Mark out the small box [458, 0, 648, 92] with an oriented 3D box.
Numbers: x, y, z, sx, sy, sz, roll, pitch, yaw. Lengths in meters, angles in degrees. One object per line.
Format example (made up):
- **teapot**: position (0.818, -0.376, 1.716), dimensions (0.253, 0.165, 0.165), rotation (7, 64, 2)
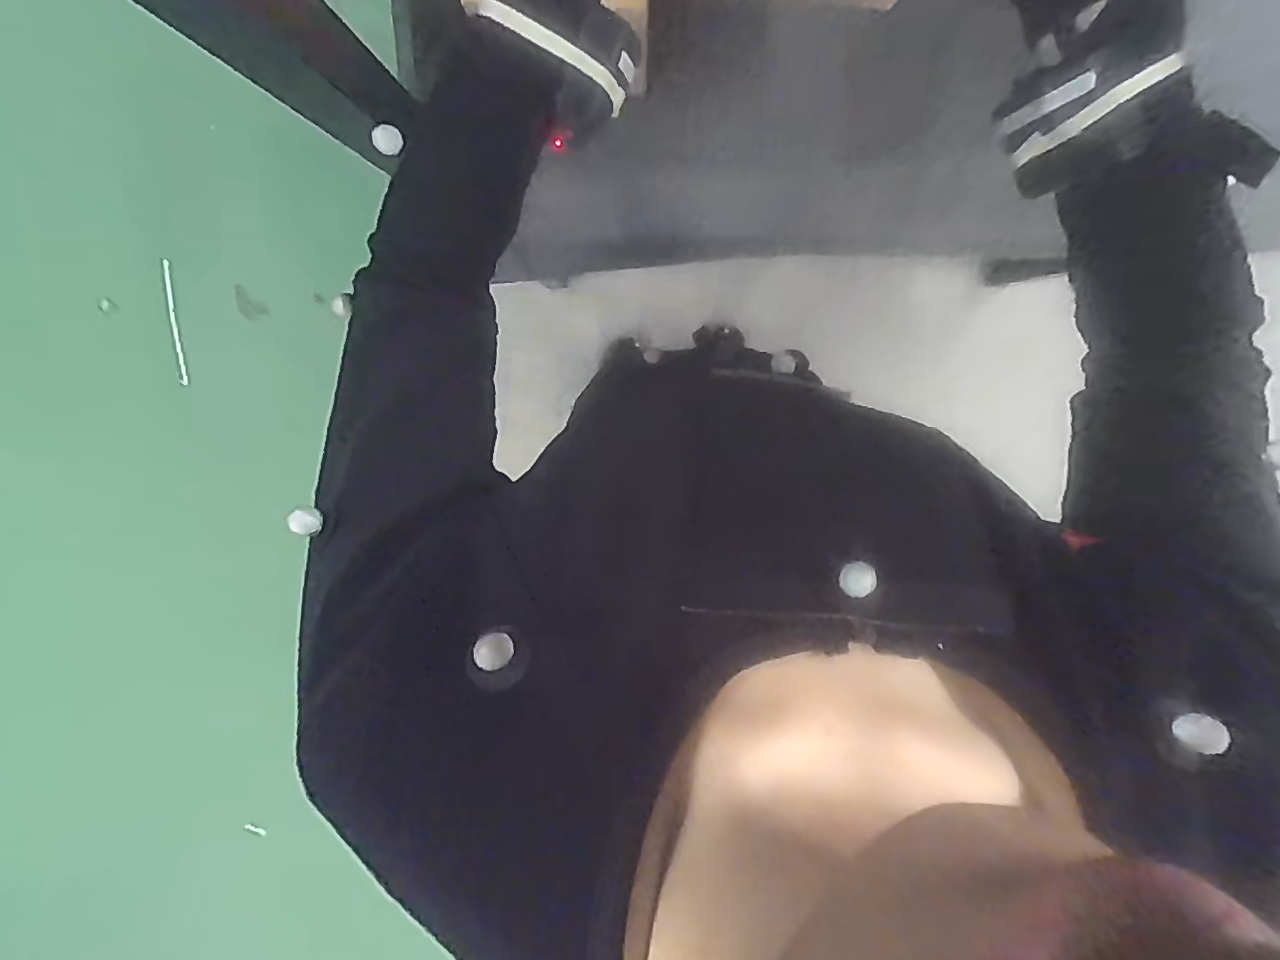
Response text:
- **small box**: position (-0.074, -0.513, 0.528), dimensions (0.168, 0.176, 0.179), rotation (3, 103, -1)
